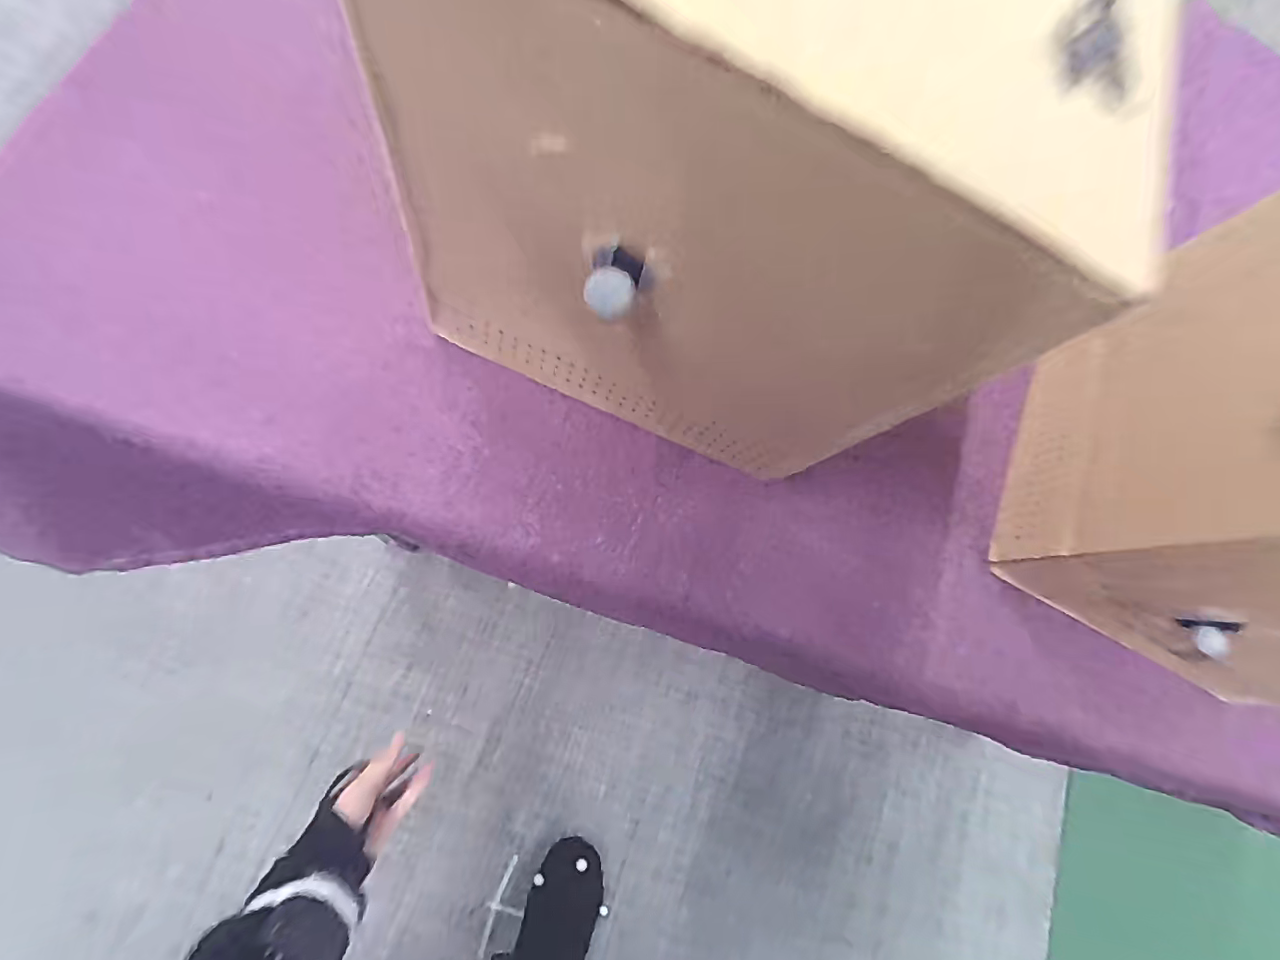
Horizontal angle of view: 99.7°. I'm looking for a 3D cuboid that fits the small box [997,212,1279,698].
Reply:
[{"bbox_3d":[0.305,-0.009,0.244,0.168,0.176,0.179,28,73,-6],"label":"small box"}]
